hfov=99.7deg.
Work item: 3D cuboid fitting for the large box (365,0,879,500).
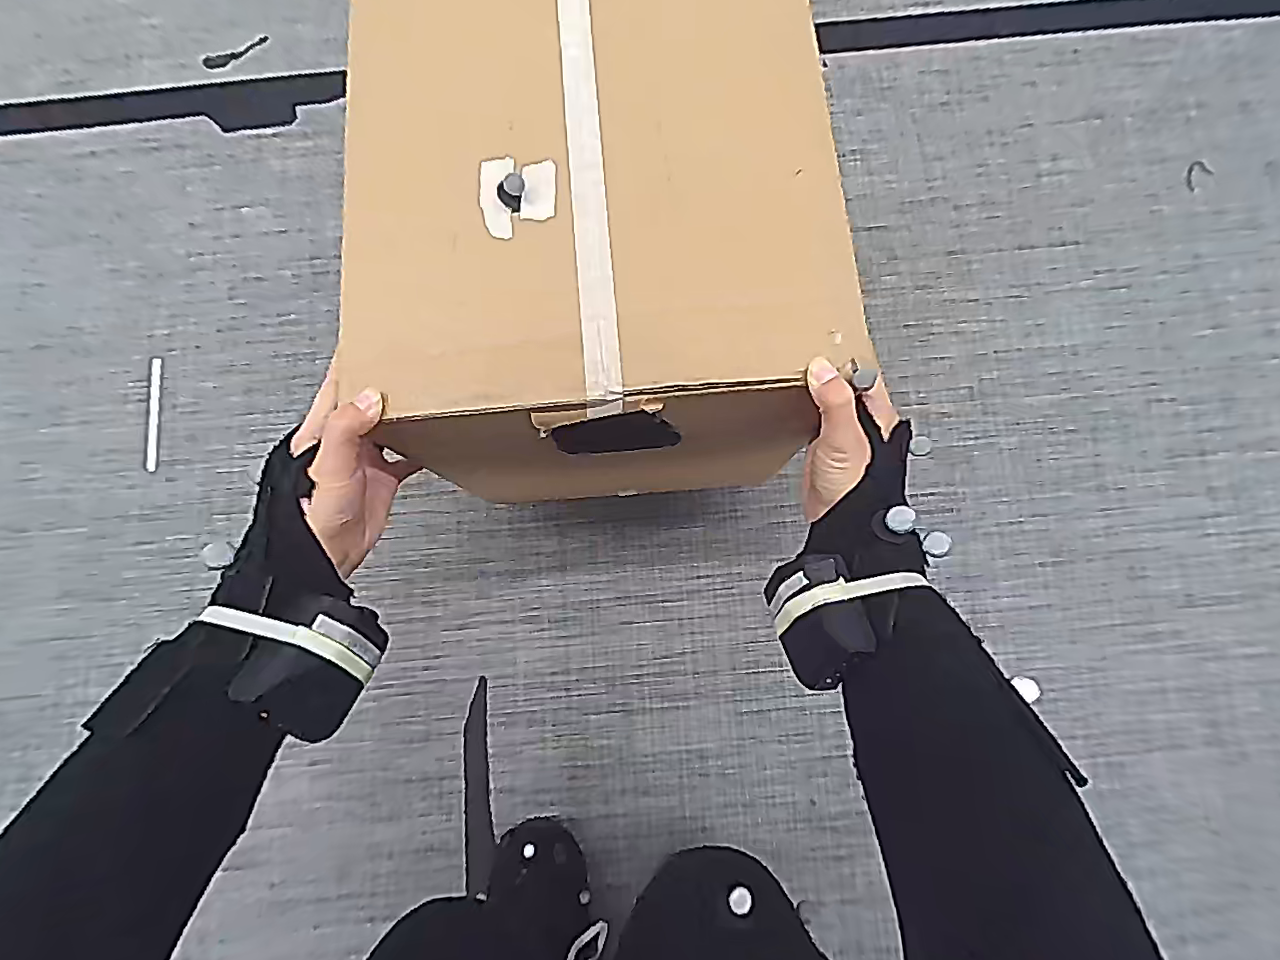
[{"bbox_3d":[-0.028,-0.214,0.507,0.320,0.320,0.408,-6,79,1],"label":"large box"}]
